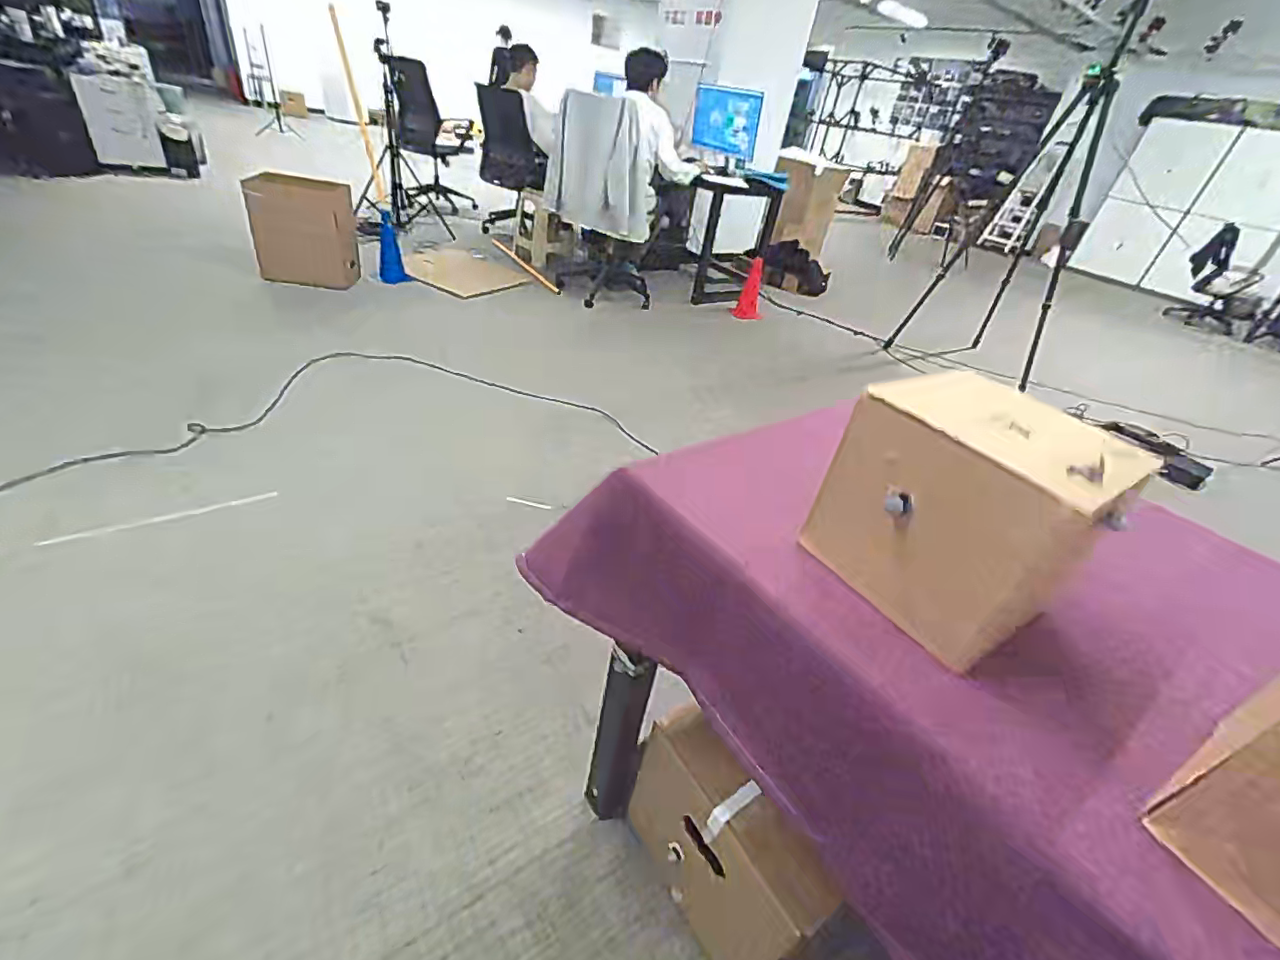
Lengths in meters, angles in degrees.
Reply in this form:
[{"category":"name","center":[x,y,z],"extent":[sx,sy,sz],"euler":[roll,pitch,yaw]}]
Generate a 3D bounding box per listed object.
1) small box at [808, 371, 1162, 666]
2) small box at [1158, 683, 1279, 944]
[{"category":"small box","center":[0.280,0.024,0.475],"extent":[0.168,0.176,0.179],"euler":[-16,42,-31]},{"category":"small box","center":[0.450,0.187,0.293],"extent":[0.179,0.176,0.168],"euler":[-13,41,-28]}]
